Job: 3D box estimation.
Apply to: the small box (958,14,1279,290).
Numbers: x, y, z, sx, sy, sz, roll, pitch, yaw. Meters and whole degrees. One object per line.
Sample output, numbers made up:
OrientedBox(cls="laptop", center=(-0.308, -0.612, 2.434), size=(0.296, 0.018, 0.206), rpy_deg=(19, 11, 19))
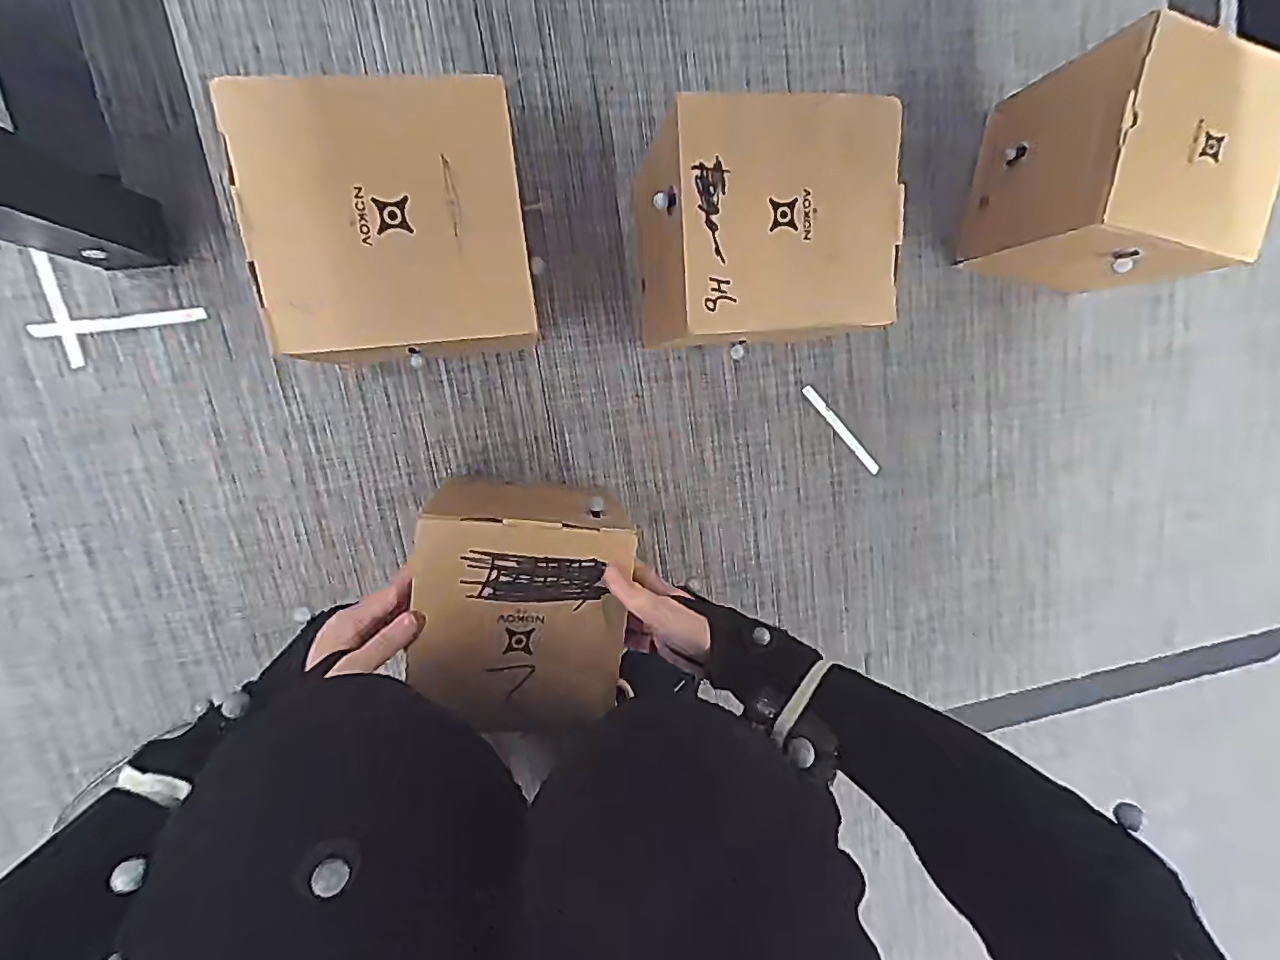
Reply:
OrientedBox(cls="small box", center=(0.464, -0.295, 0.534), size=(0.179, 0.176, 0.168), rpy_deg=(7, 99, -11))

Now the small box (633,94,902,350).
OrientedBox(cls="small box", center=(0.098, -0.206, 0.478), size=(0.179, 0.176, 0.168), rpy_deg=(-6, 101, -10))
